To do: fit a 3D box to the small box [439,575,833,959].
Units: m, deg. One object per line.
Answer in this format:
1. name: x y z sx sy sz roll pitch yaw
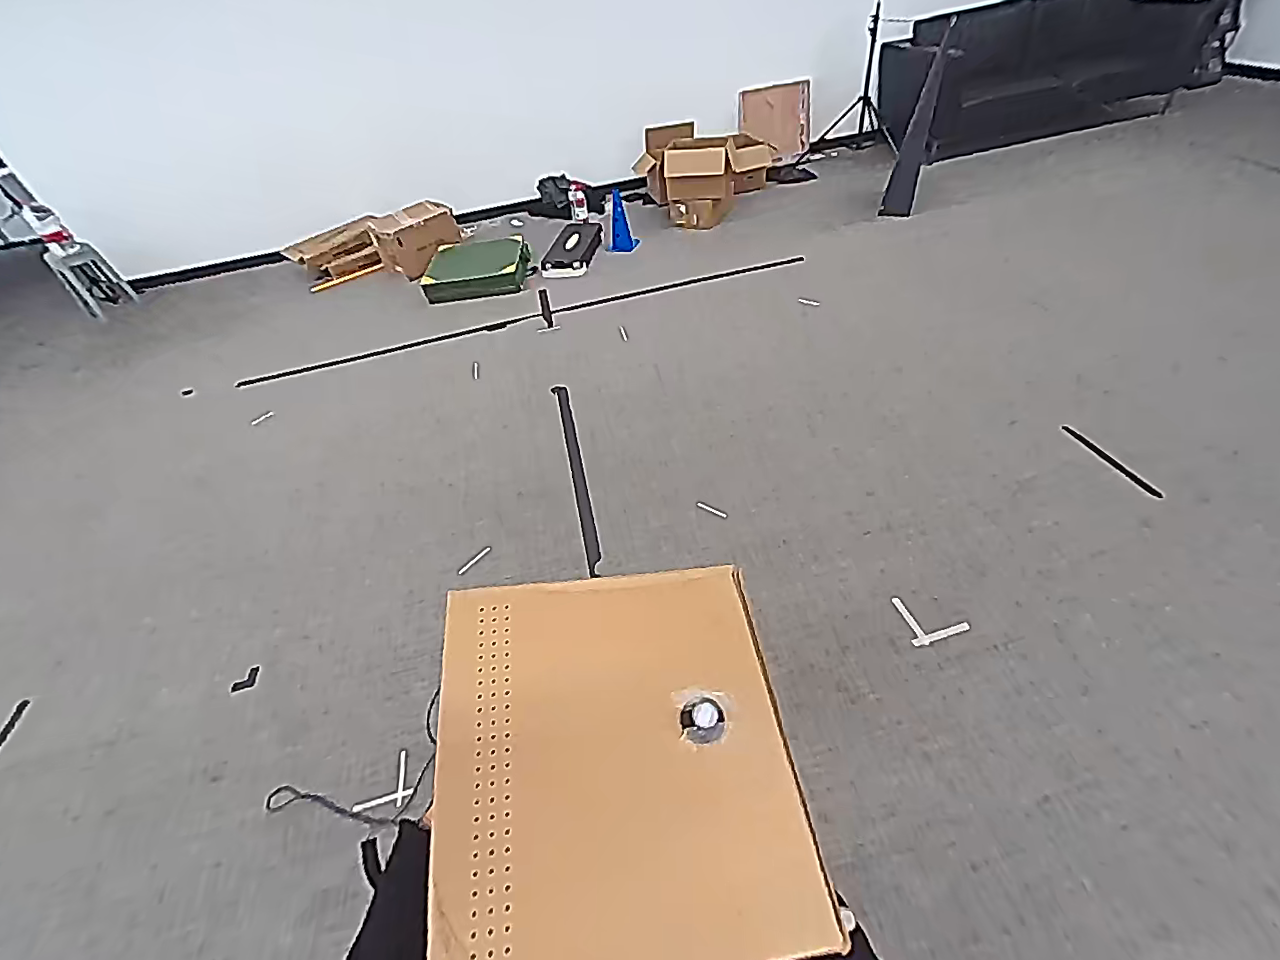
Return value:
1. small box: -0.019 0.178 0.328 0.176 0.168 0.179 -4 52 -9
